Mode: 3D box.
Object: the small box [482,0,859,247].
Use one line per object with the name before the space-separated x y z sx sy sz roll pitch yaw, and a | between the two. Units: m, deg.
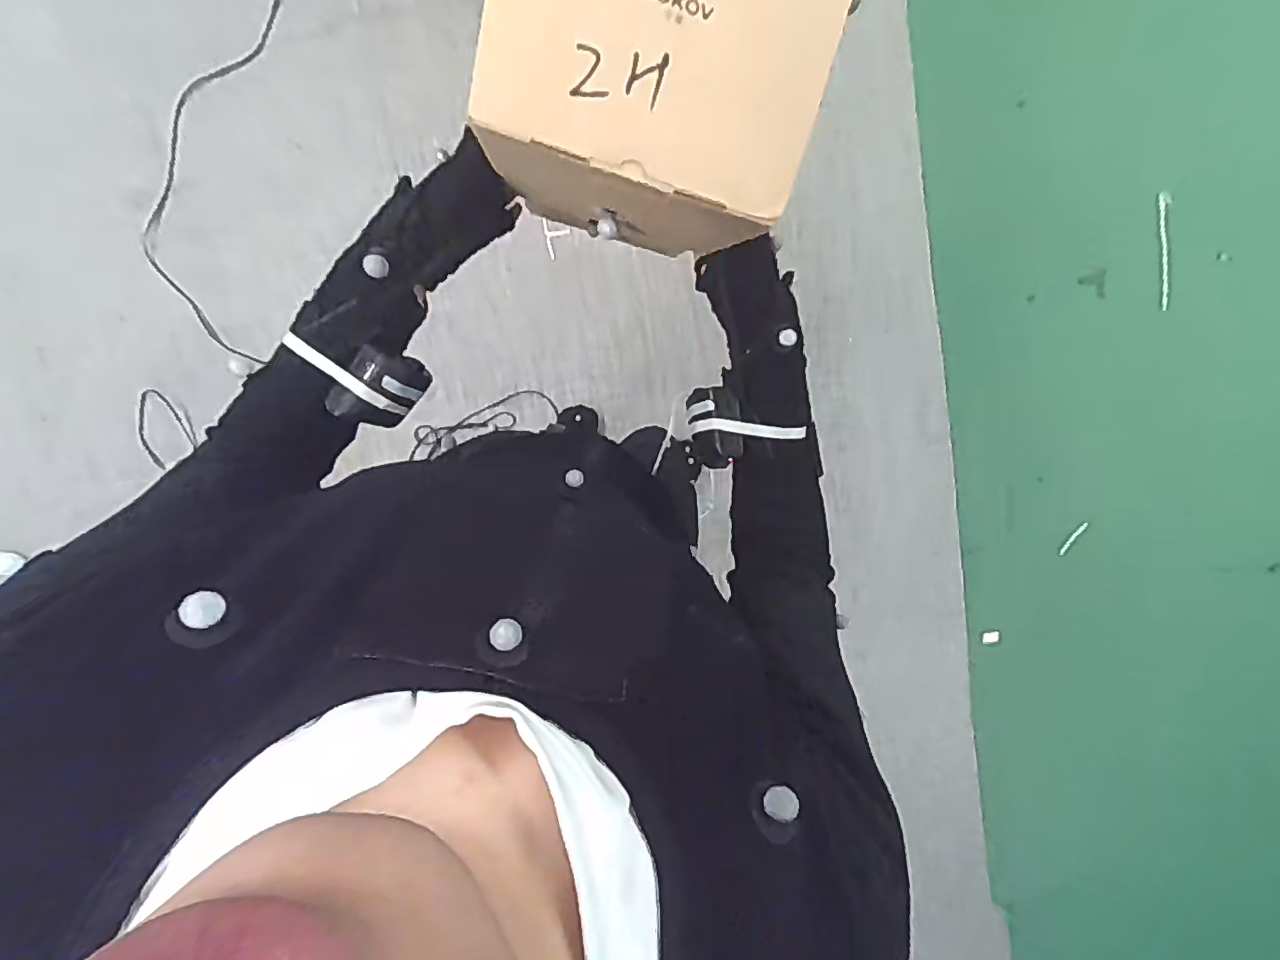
small box | 0.013 -0.260 0.326 0.168 0.176 0.179 13 106 -12
